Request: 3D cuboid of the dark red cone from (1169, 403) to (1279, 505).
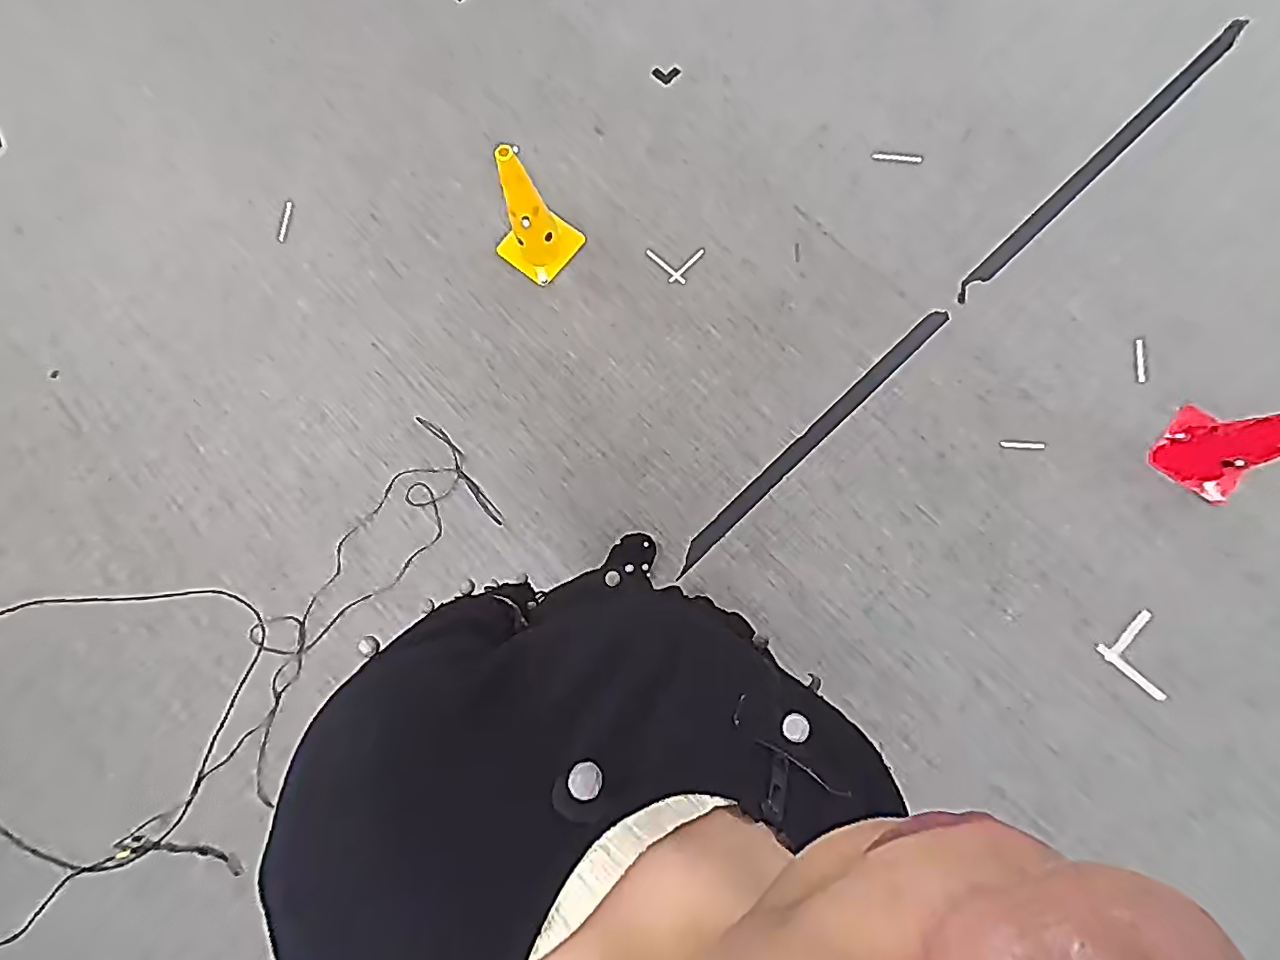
[{"bbox_3d":[1.403,-0.097,1.152,0.201,0.394,0.202,38,83,11],"label":"dark red cone"}]
